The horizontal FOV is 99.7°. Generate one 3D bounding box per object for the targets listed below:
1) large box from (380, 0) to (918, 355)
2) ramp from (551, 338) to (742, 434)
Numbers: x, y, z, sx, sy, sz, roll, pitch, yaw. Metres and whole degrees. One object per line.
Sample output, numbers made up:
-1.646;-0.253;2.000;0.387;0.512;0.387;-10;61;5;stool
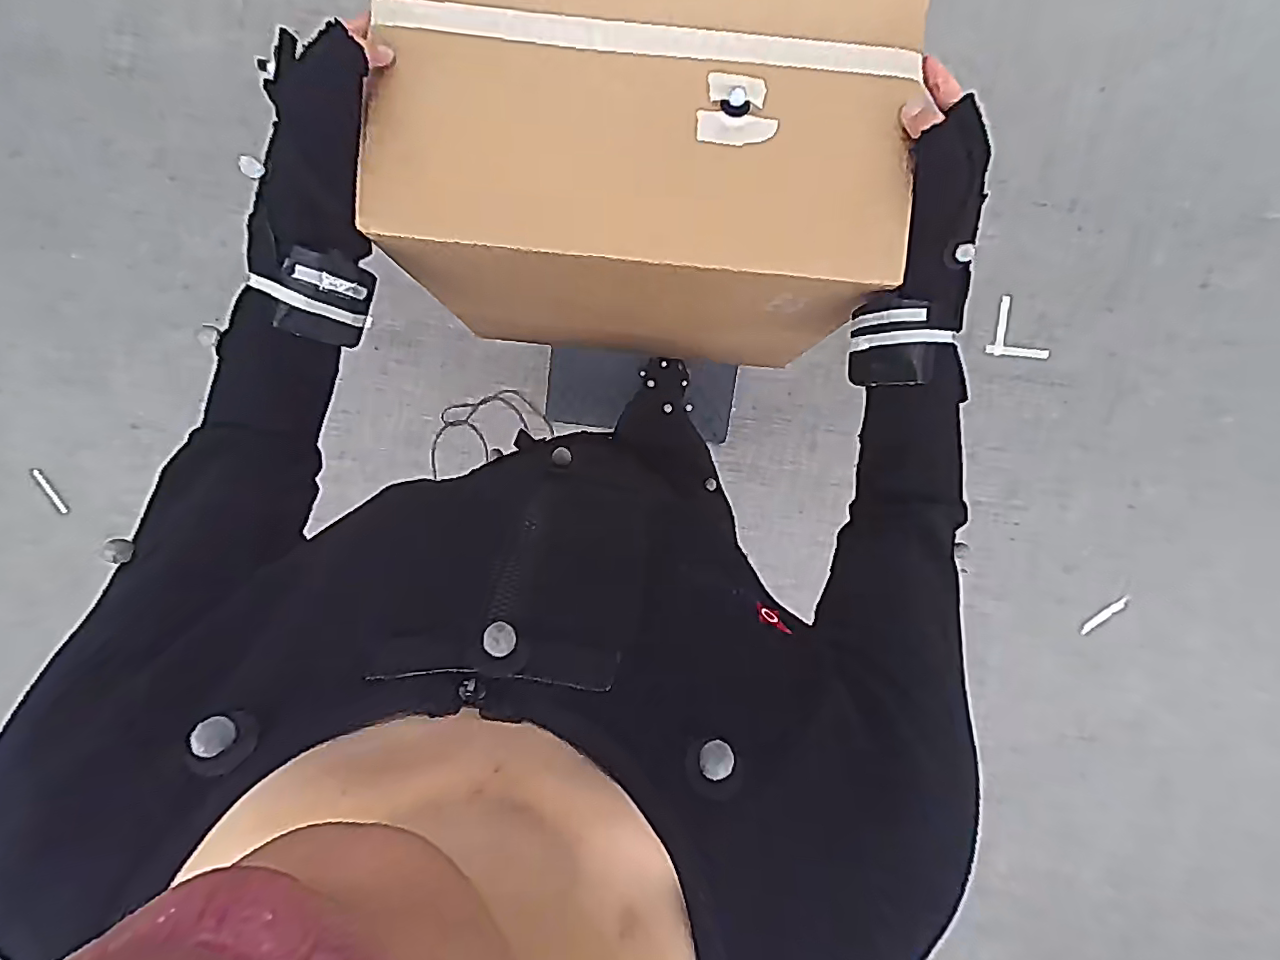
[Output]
0.006;-0.329;0.561;0.408;0.320;0.320;5;91;-2;large box
0.062;-0.628;1.338;0.509;0.206;0.991;5;95;-2;ramp
